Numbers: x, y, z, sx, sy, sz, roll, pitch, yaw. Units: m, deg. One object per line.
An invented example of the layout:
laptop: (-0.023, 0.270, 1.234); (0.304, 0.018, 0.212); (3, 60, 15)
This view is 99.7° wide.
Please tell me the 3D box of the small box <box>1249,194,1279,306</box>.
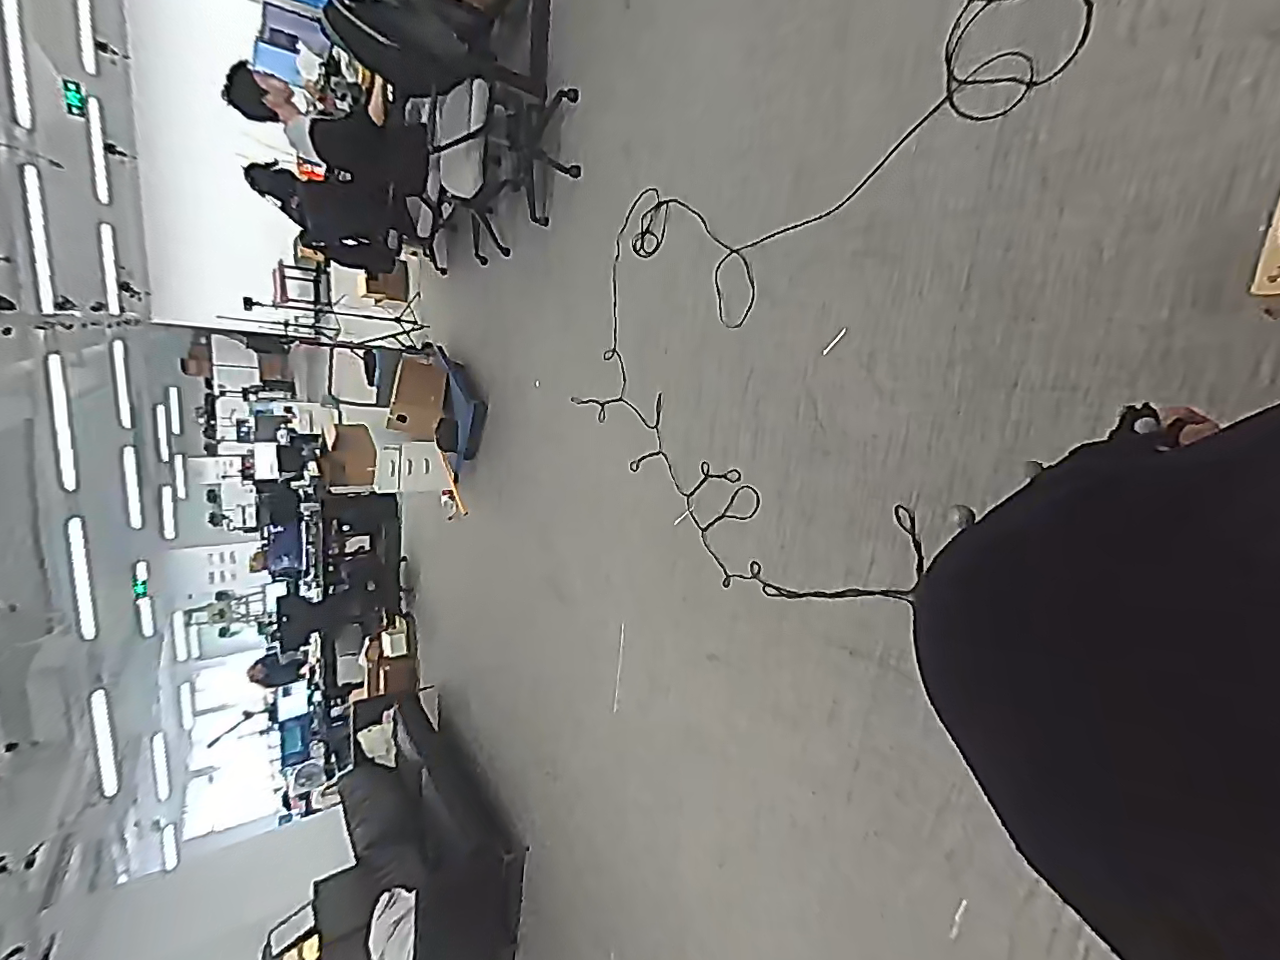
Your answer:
small box: (1.062, -0.353, 0.798); (0.179, 0.176, 0.168); (19, 109, 51)
